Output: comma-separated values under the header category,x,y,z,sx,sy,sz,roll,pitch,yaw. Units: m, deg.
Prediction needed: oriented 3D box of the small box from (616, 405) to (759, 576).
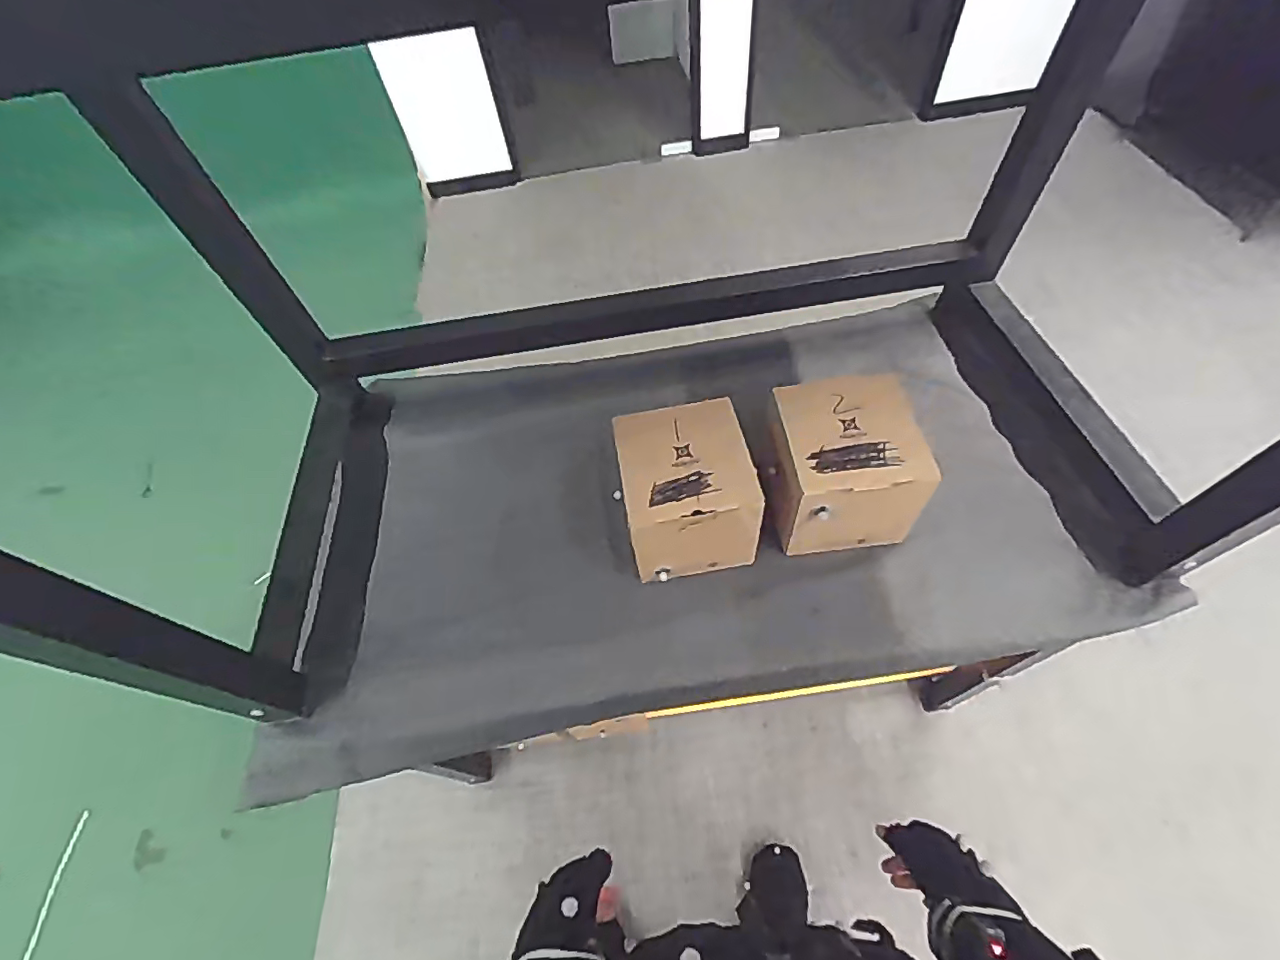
category,x,y,z,sx,sy,sz,roll,pitch,yaw
small box,0.065,0.023,0.769,0.168,0.176,0.179,-10,54,0
